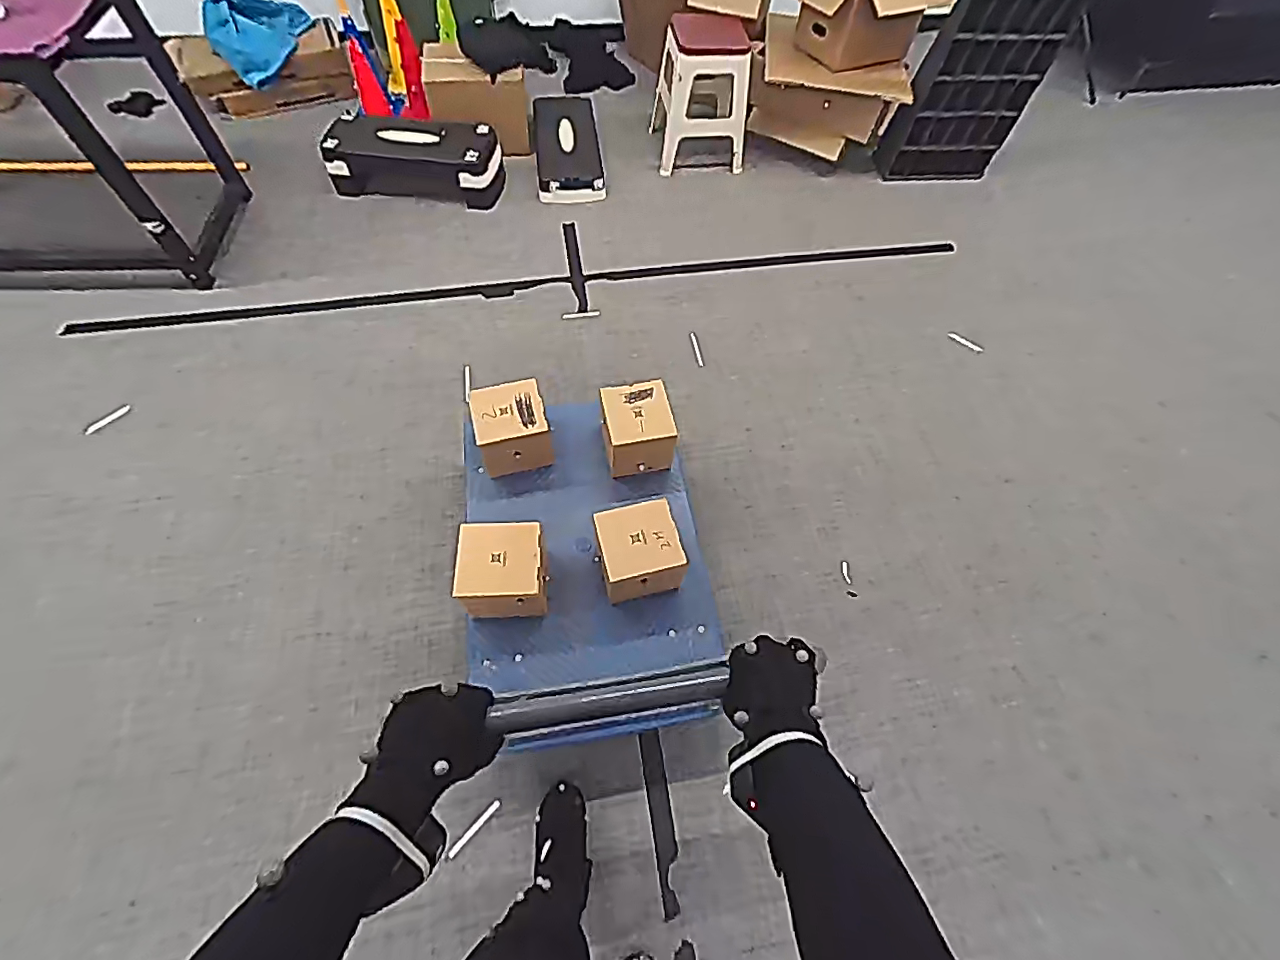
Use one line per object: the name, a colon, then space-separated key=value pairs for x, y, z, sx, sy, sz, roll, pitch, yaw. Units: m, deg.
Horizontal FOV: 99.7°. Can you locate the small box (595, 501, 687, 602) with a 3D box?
small box: x=-0.001 y=0.172 z=1.262 sx=0.179 sy=0.176 sz=0.168 roll=-12 pitch=63 yaw=-9

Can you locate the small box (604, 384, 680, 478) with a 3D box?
small box: x=-0.002 y=-0.127 z=1.424 sx=0.168 sy=0.176 sz=0.179 roll=-9 pitch=63 yaw=-8

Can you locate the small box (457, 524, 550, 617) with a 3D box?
small box: x=-0.301 y=0.209 z=1.226 sx=0.179 sy=0.176 sz=0.168 roll=-1 pitch=61 yaw=-5
